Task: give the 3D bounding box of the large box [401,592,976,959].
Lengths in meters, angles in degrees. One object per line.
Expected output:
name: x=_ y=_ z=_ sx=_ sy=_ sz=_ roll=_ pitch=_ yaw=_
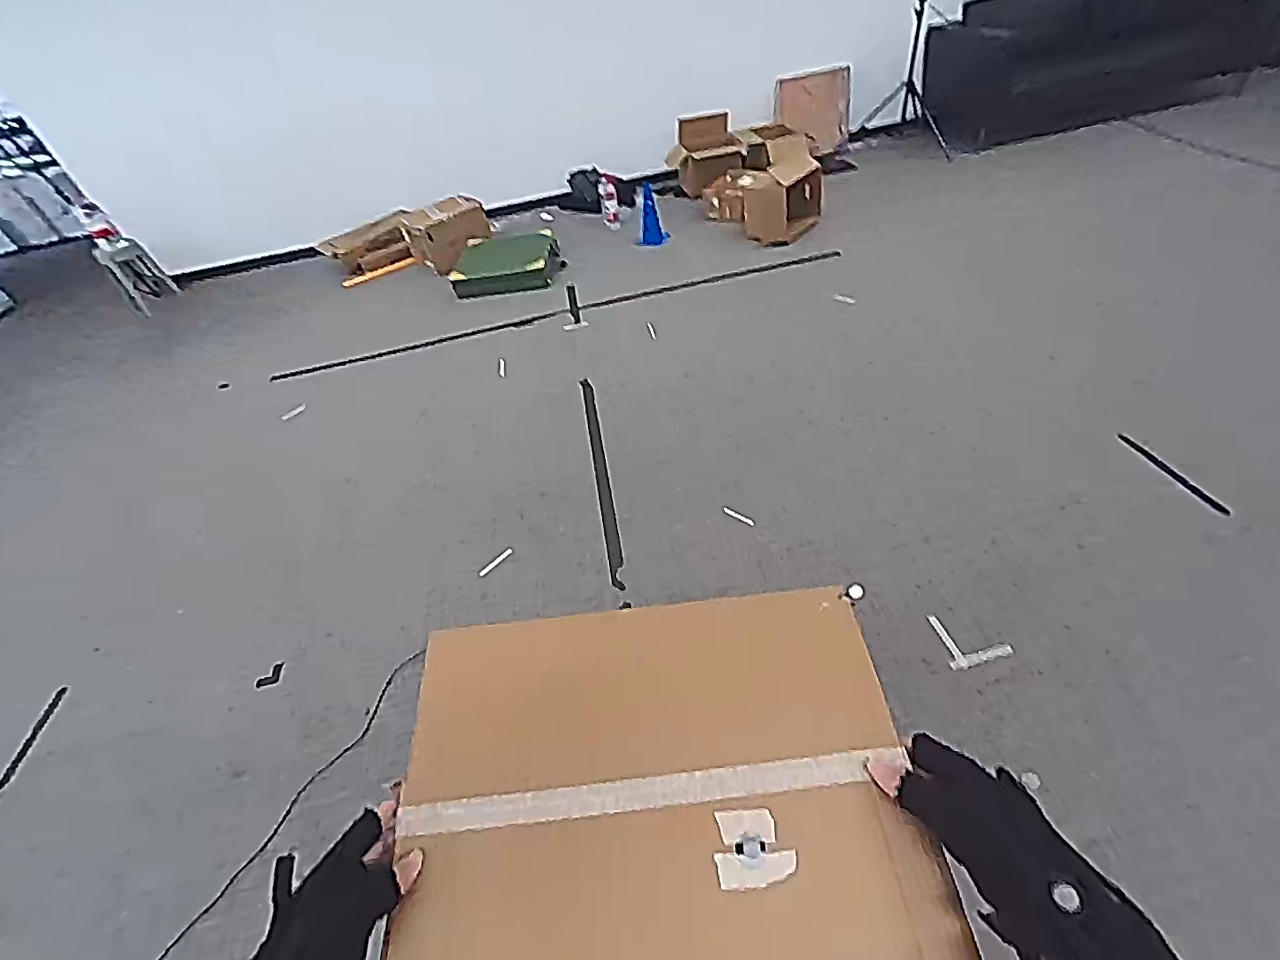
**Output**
large box: x=0.025 y=0.345 z=0.556 sx=0.408 sy=0.320 sz=0.320 roll=-6 pitch=52 yaw=-1
